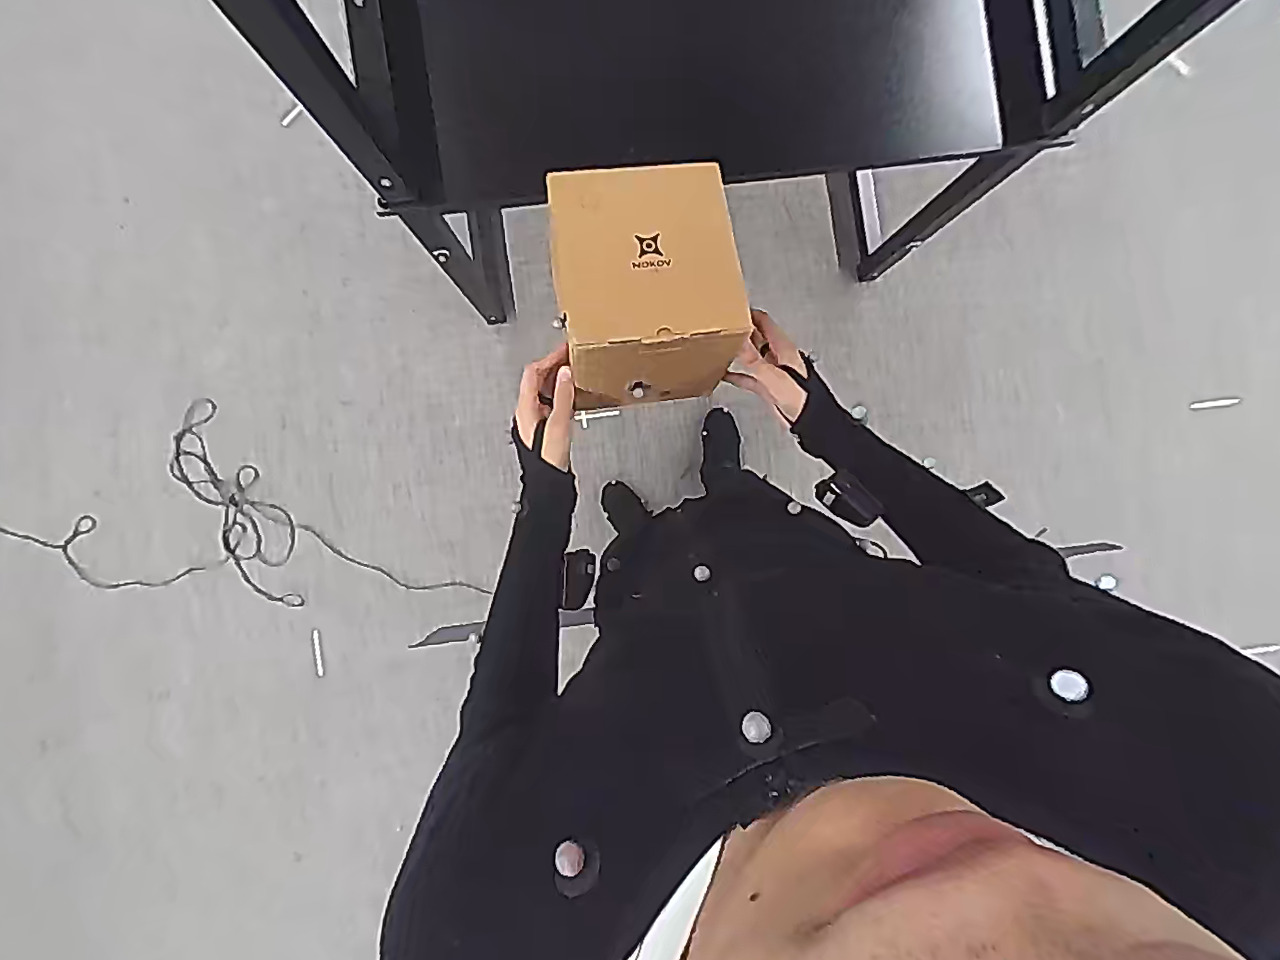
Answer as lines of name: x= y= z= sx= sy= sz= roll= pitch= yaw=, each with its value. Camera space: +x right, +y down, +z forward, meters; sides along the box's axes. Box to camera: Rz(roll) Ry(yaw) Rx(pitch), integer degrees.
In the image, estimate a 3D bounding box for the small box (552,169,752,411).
small box: x=-0.001 y=-0.188 z=0.567 sx=0.168 sy=0.176 sz=0.179 roll=-8 pitch=80 yaw=-8
